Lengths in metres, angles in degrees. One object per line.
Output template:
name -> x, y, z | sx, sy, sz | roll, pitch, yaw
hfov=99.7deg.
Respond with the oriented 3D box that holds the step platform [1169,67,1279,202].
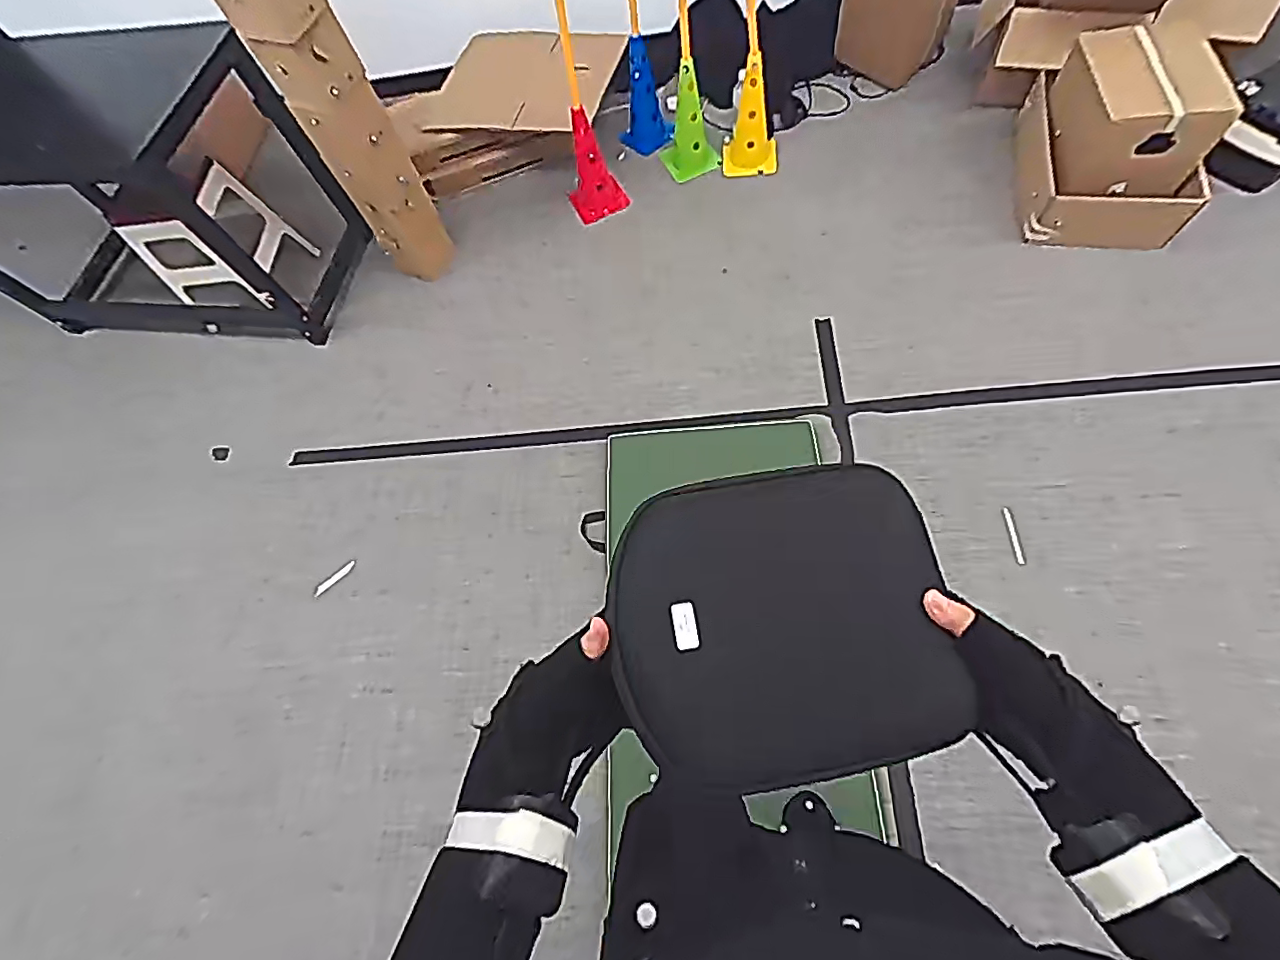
step platform -> 2.126, -1.184, 1.739 | 0.684, 0.204, 0.286 | -30, 66, -5
